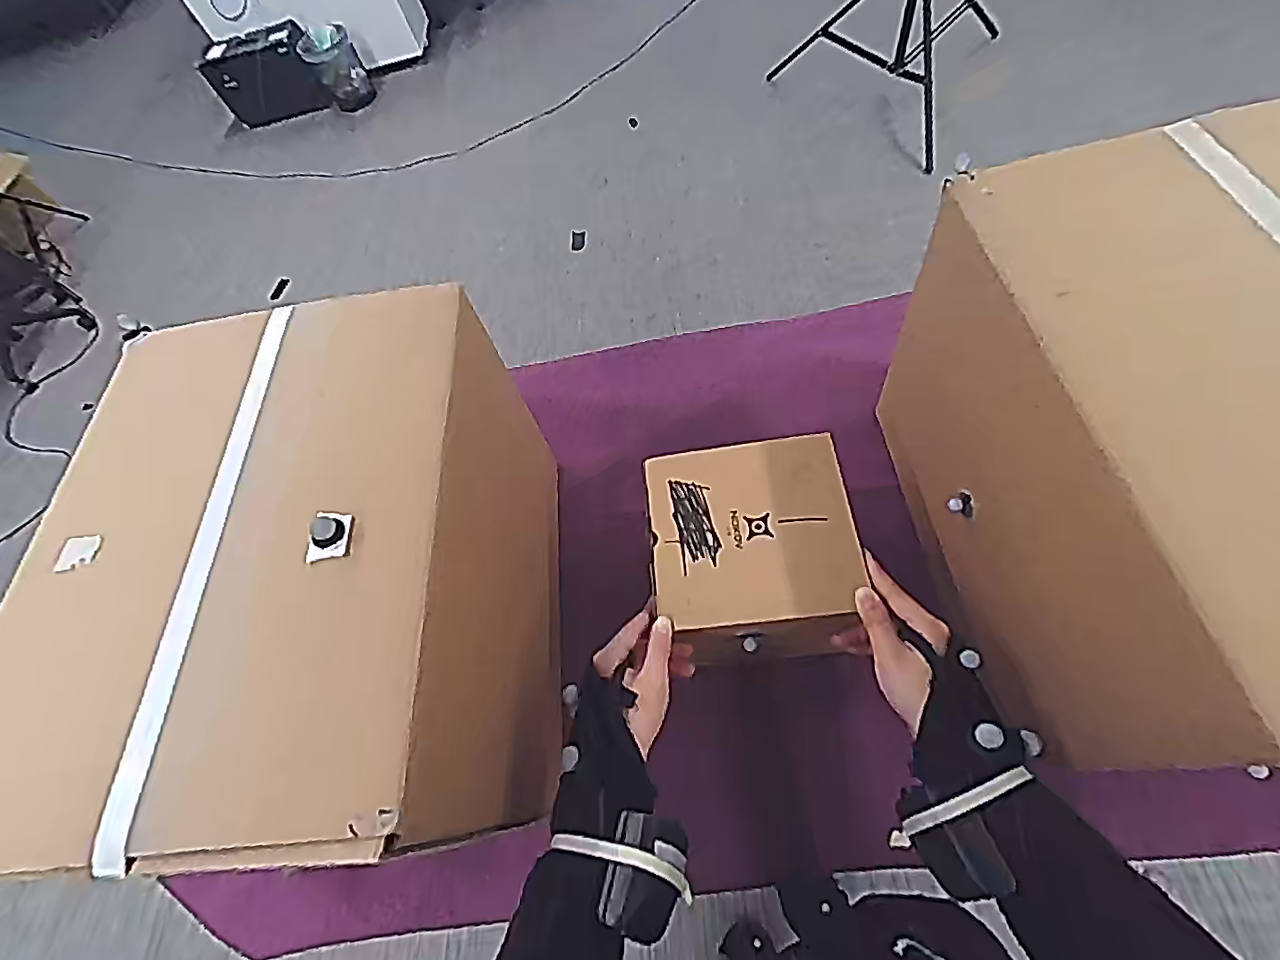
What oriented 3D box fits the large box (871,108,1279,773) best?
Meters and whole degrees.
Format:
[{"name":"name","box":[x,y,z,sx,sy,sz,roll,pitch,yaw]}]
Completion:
[{"name":"large box","box":[0.423,-0.011,0.434,0.320,0.320,0.408,-9,59,6]}]
